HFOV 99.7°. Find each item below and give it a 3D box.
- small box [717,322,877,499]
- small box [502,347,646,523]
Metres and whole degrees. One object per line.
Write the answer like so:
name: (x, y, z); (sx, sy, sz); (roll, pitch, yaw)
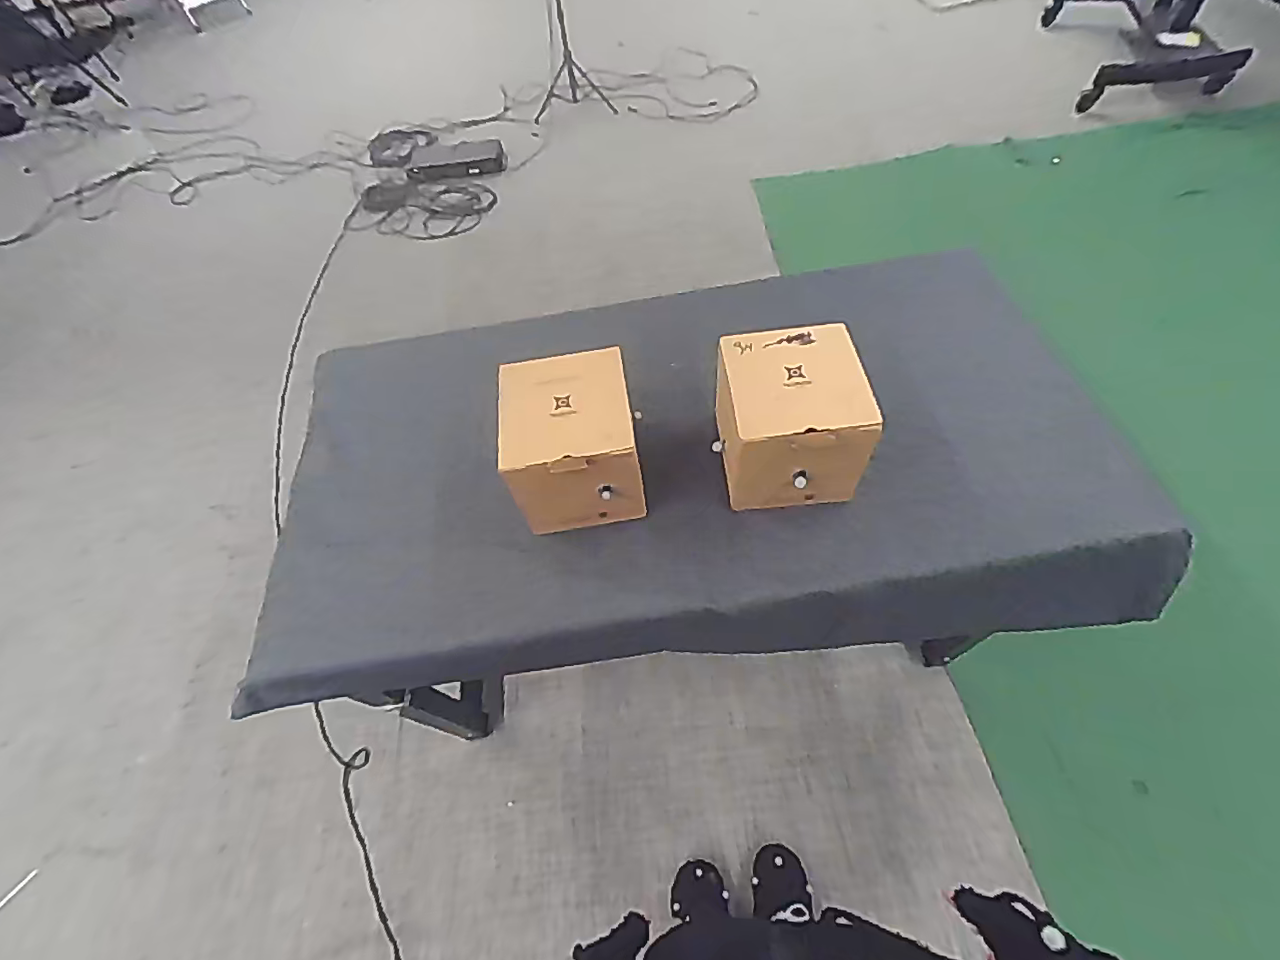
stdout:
small box: (0.199, -0.085, 0.740); (0.168, 0.176, 0.179); (-6, 58, 2)
small box: (-0.087, -0.053, 0.753); (0.168, 0.176, 0.179); (-9, 56, -1)
